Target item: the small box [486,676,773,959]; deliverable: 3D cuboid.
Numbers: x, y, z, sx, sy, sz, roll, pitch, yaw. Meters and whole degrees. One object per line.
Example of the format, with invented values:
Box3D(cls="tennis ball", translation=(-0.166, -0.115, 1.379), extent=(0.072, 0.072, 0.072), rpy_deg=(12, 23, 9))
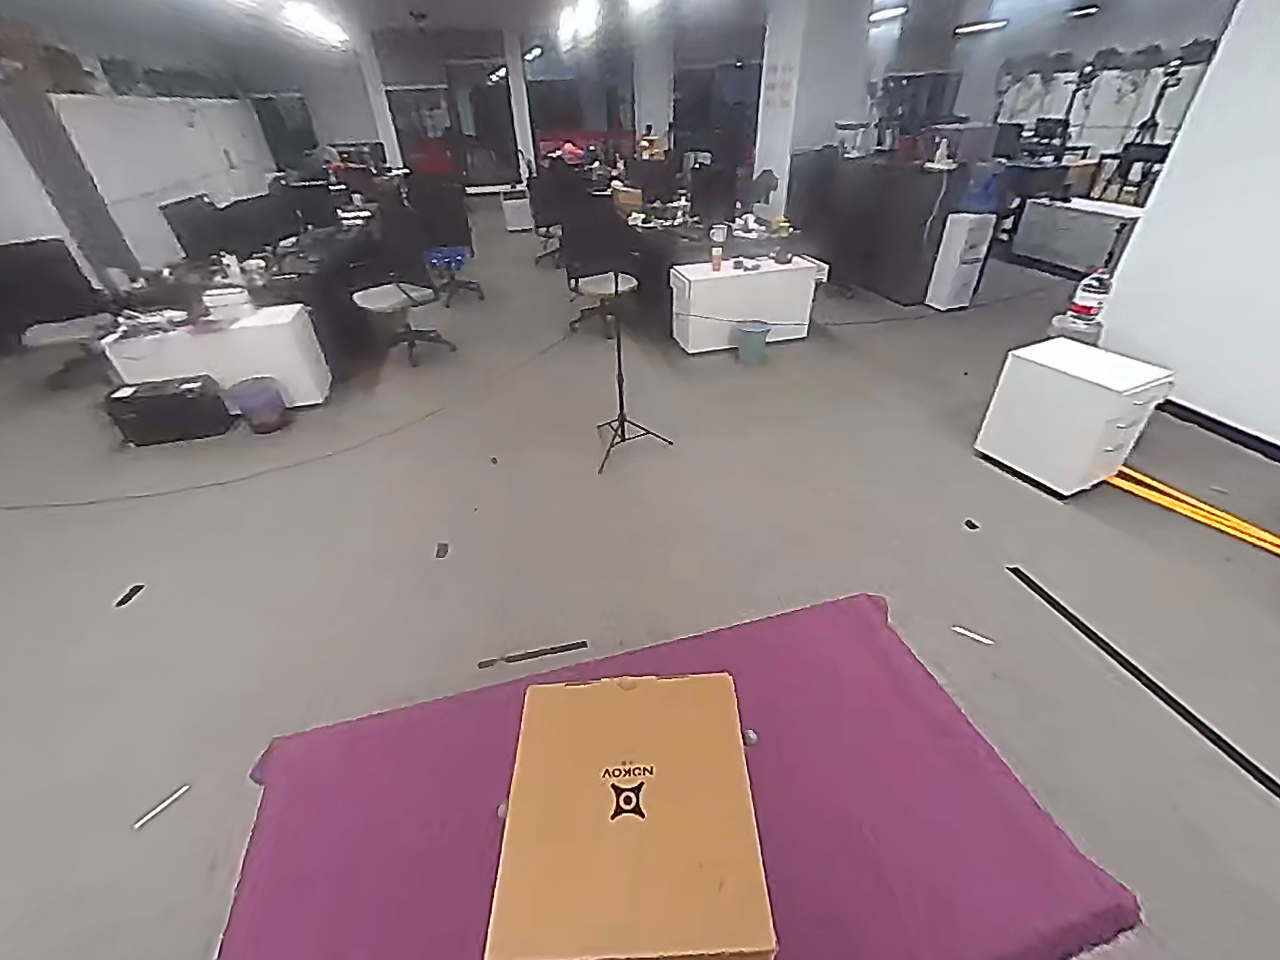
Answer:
Box3D(cls="small box", translation=(0.001, 0.276, 0.410), extent=(0.168, 0.176, 0.179), rpy_deg=(-4, 36, 2))
